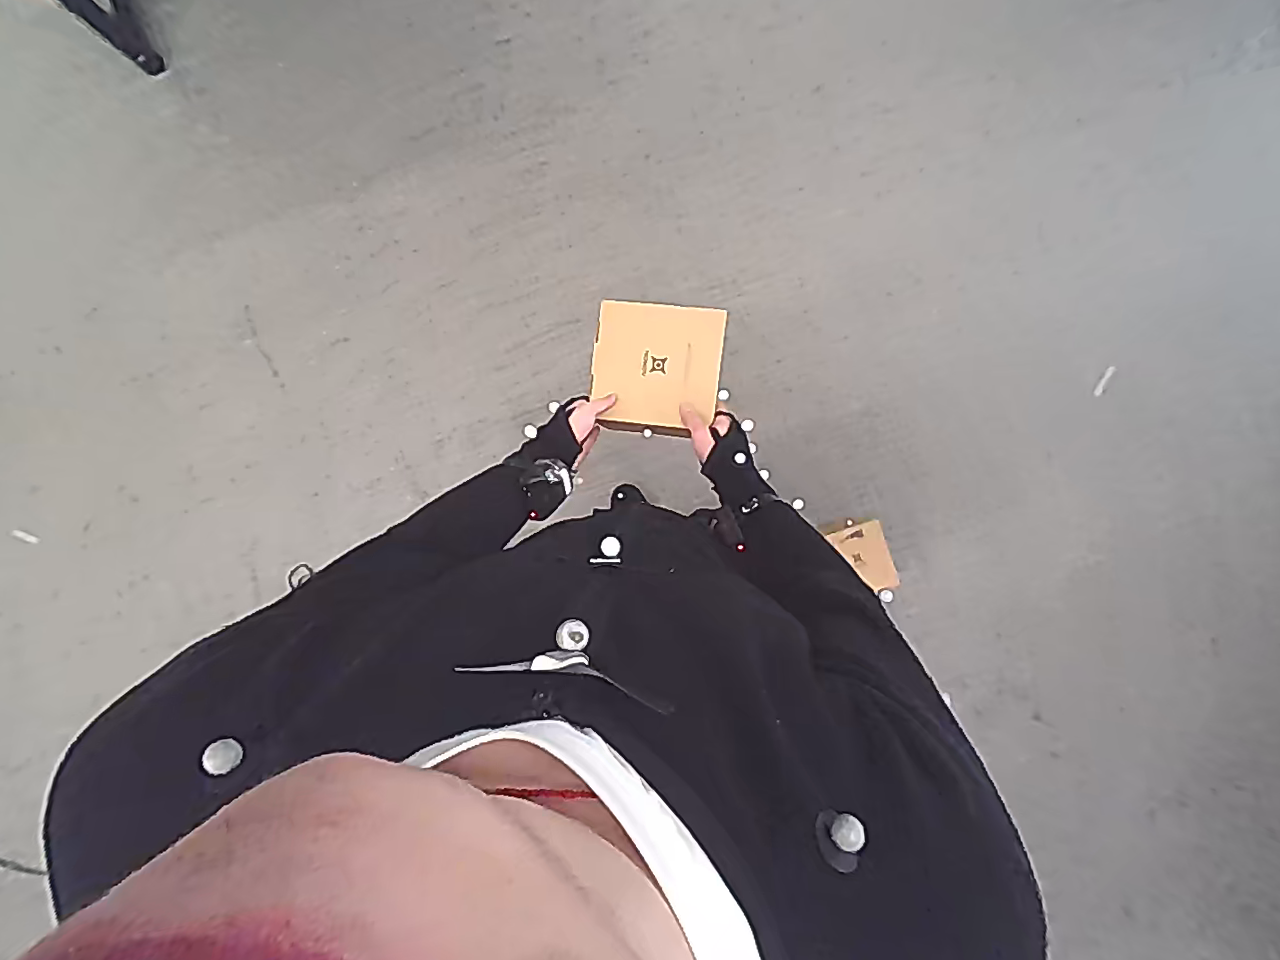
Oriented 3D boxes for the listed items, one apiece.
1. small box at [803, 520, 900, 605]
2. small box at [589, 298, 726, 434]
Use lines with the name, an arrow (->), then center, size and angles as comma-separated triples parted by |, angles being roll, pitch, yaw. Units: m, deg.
small box -> 0.555, 0.213, 1.440 | 0.168, 0.176, 0.179 | -17, 88, 2
small box -> 0.031, -0.161, 0.812 | 0.179, 0.176, 0.168 | 5, 91, 5
